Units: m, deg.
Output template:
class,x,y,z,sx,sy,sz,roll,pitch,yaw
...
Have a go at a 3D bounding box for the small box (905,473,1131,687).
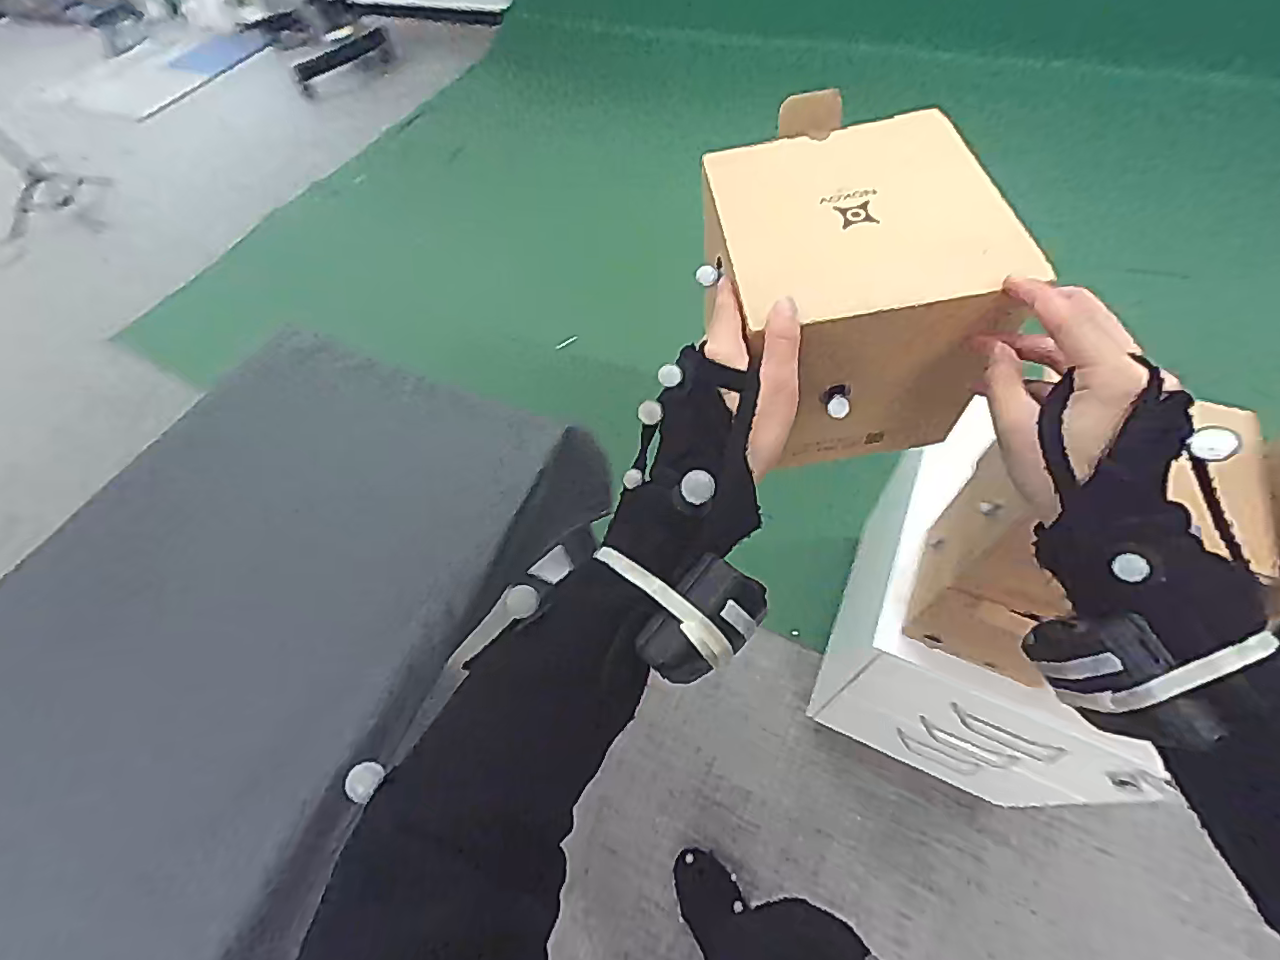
class,x,y,z,sx,sy,sz,roll,pitch,yaw
small box,0.448,0.127,0.663,0.168,0.176,0.179,21,61,17
